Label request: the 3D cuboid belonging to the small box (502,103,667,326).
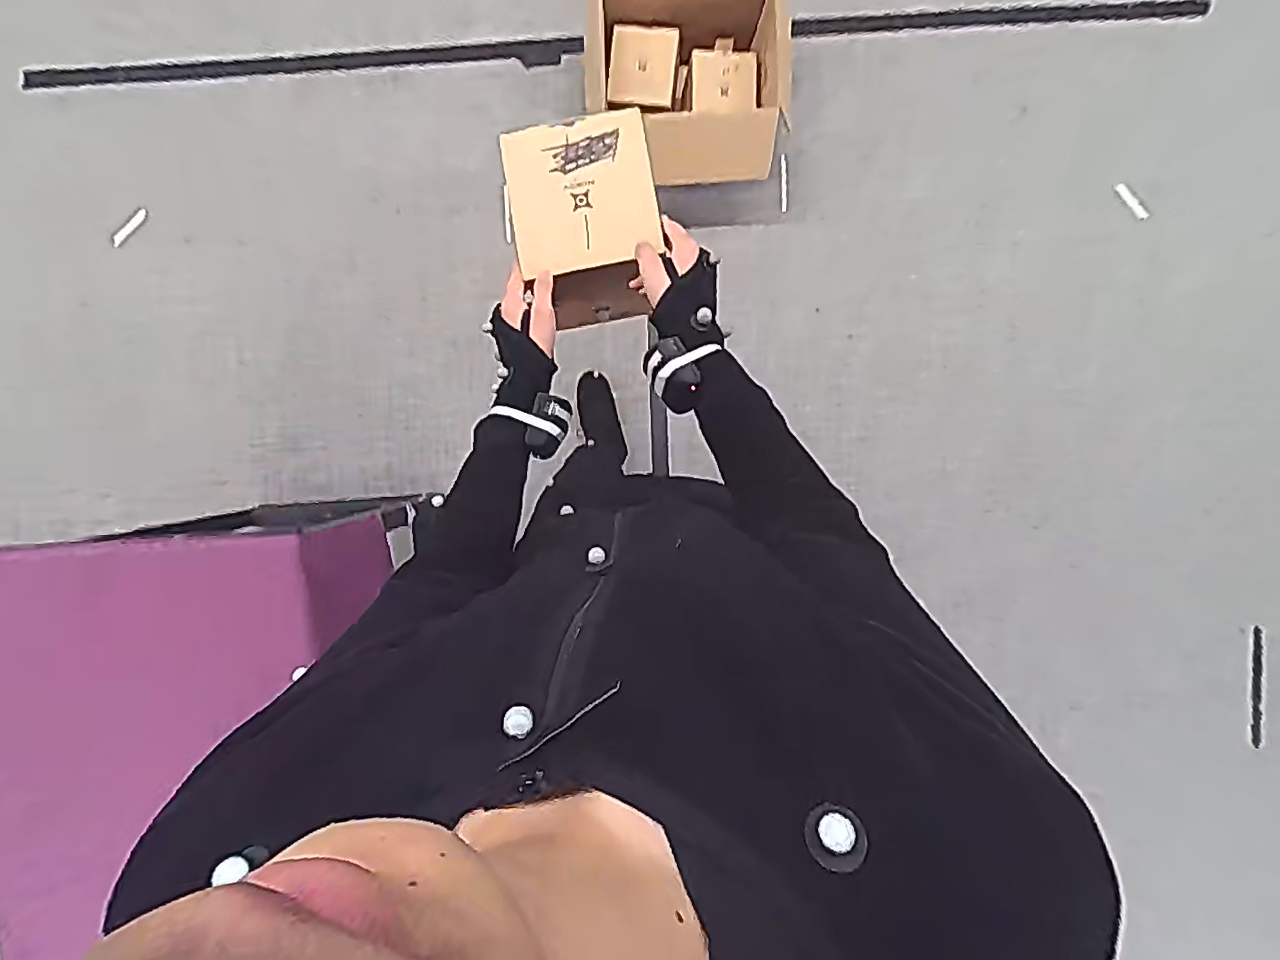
[{"bbox_3d":[-0.059,-0.316,0.677,0.168,0.176,0.179,-10,85,3],"label":"small box"}]
